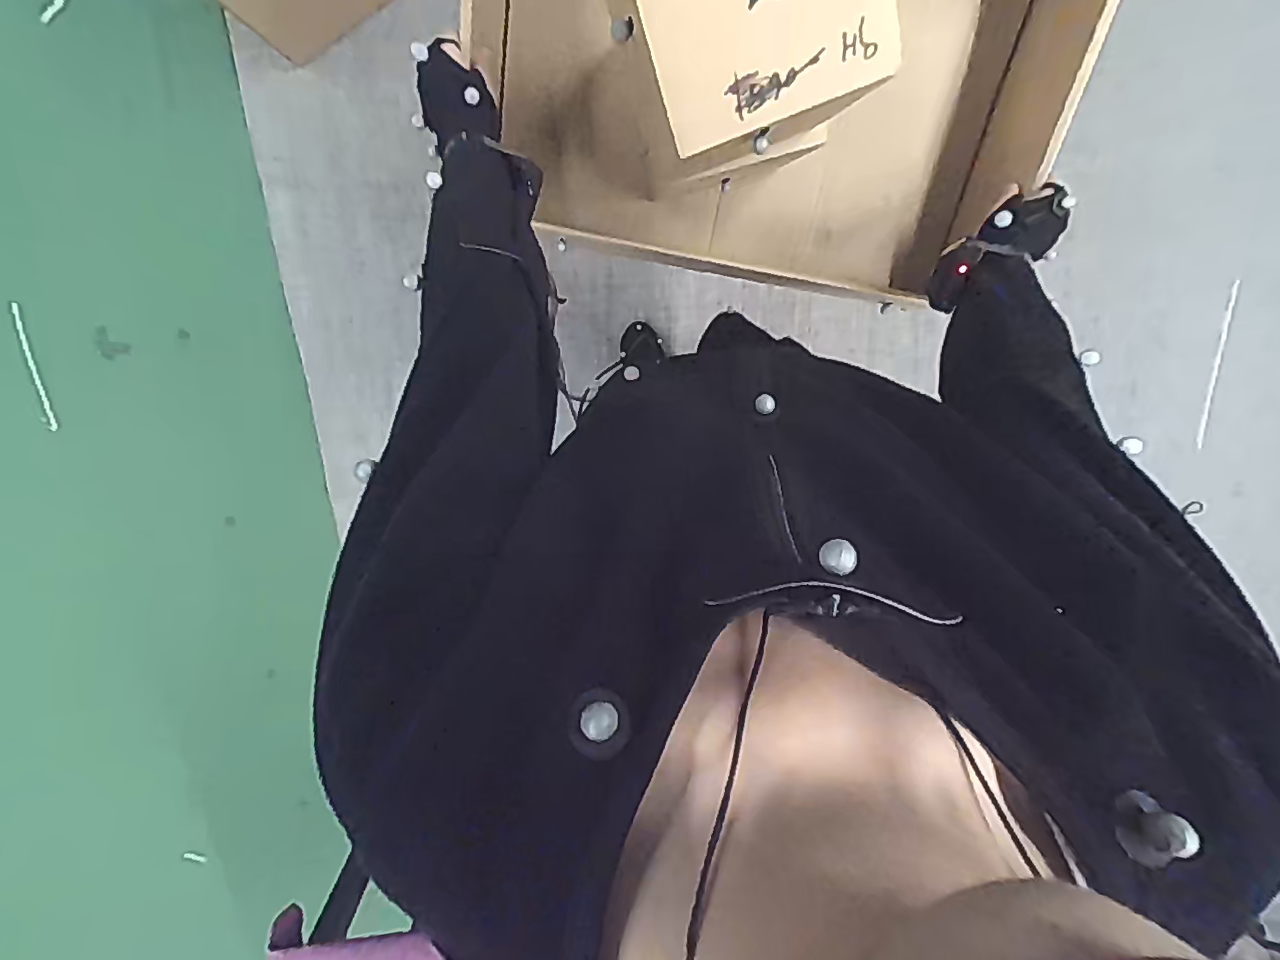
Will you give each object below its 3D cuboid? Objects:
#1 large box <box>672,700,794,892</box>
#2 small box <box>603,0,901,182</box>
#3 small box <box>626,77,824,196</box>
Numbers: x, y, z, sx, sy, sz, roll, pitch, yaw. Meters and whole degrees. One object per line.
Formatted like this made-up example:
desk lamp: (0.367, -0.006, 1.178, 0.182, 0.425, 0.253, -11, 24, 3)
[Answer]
large box: (0.266, 0.941, 1.639, 0.320, 0.320, 0.408, -3, 104, -2)
small box: (0.069, -0.359, 0.416, 0.168, 0.176, 0.179, -19, 111, 5)
small box: (0.078, -0.415, 0.572, 0.168, 0.176, 0.179, -14, 112, 3)
